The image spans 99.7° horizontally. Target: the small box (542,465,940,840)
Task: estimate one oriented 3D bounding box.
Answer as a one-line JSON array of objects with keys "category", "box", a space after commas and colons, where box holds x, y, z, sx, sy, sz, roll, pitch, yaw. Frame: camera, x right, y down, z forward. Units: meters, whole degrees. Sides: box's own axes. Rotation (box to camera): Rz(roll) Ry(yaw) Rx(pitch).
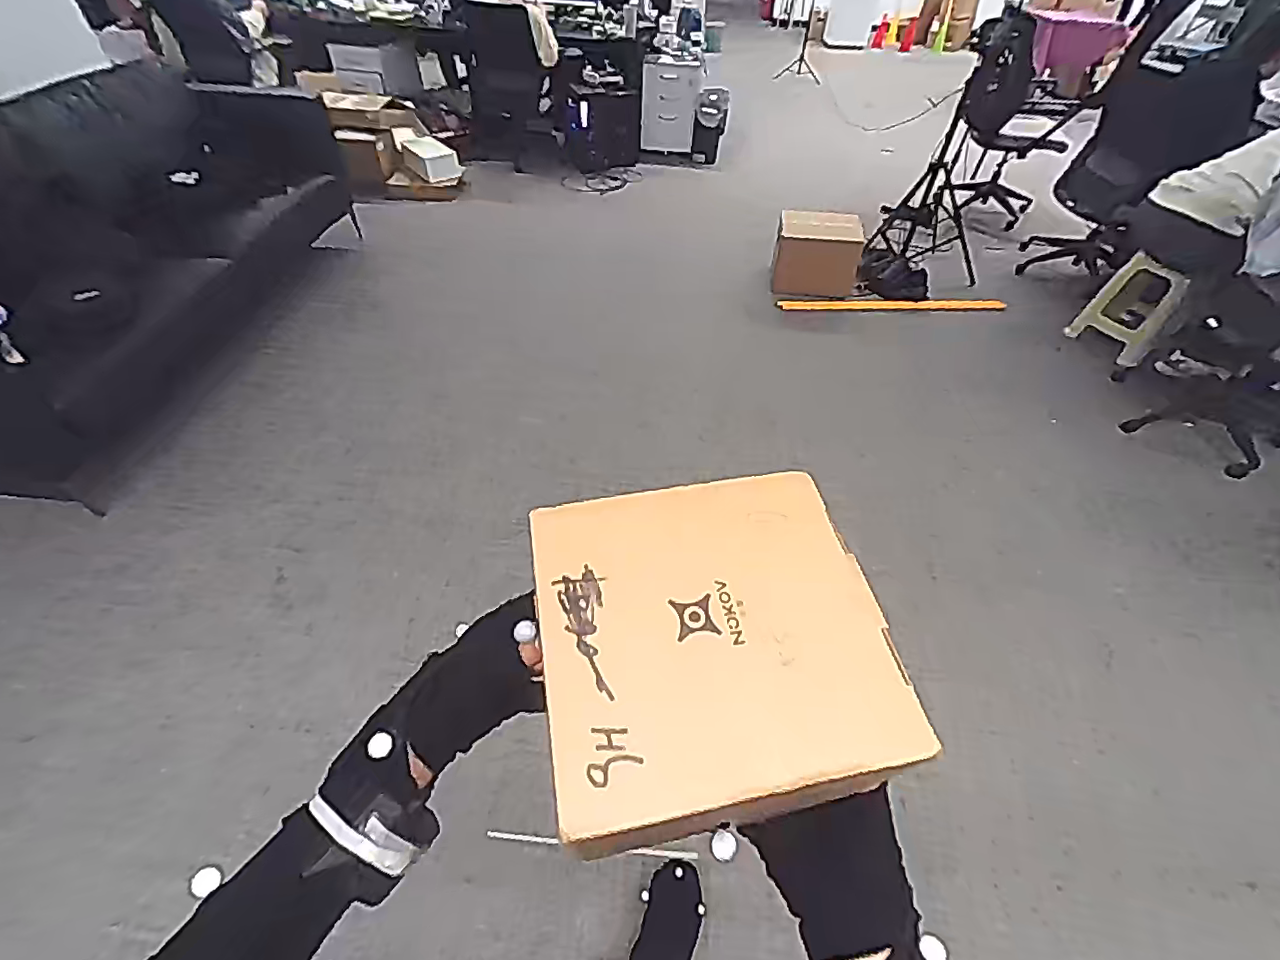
[{"category": "small box", "box": [0.035, 0.112, 0.343, 0.179, 0.176, 0.168, -6, 53, -9]}]
